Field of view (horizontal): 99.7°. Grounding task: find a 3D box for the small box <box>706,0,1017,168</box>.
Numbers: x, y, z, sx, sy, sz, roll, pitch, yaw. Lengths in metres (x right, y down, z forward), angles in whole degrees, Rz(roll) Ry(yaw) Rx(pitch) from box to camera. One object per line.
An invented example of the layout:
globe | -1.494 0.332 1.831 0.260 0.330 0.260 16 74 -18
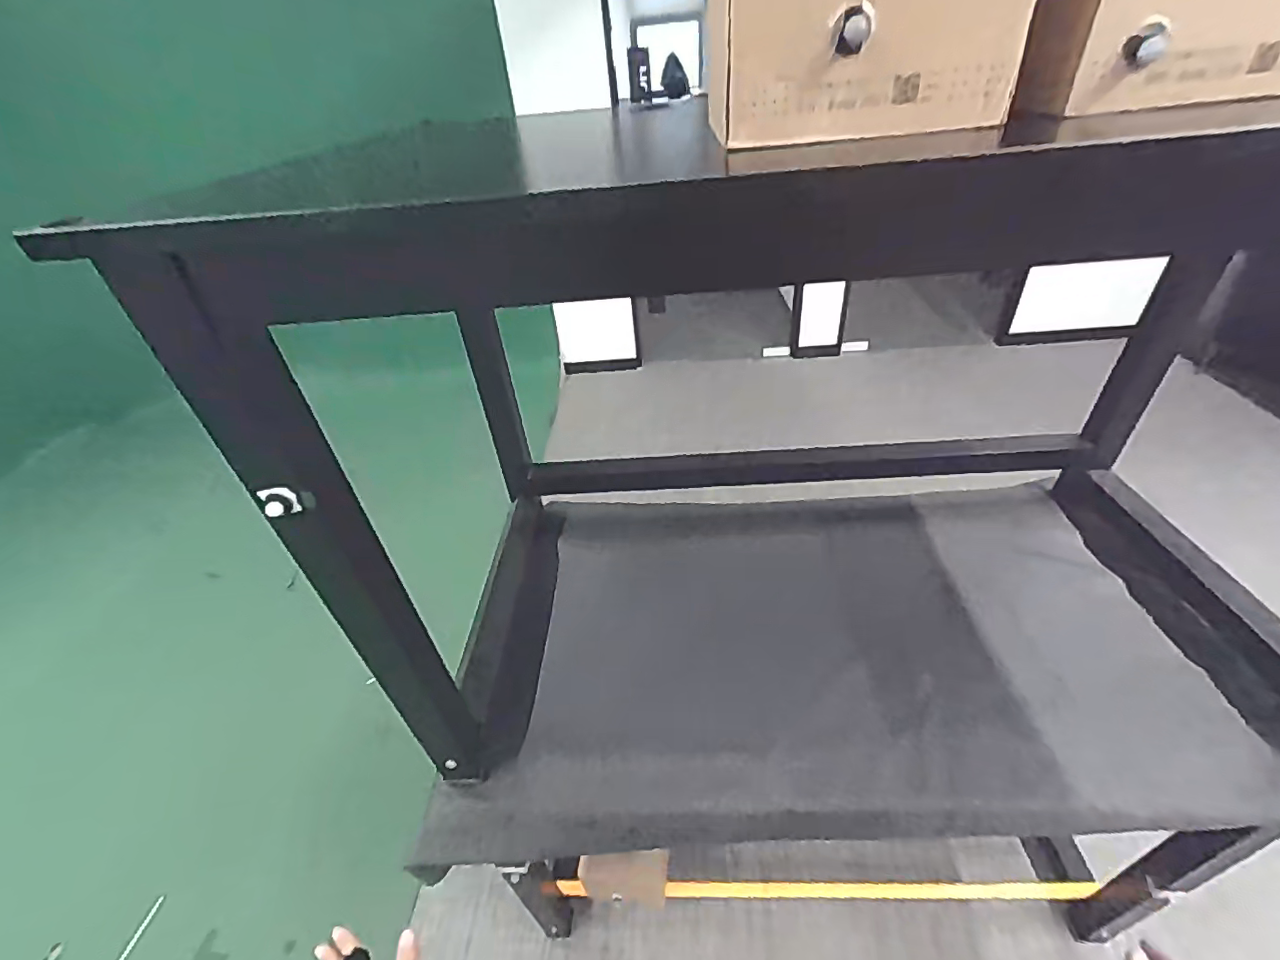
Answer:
small box | 0.131 -0.319 0.365 0.168 0.176 0.179 -2 37 5
